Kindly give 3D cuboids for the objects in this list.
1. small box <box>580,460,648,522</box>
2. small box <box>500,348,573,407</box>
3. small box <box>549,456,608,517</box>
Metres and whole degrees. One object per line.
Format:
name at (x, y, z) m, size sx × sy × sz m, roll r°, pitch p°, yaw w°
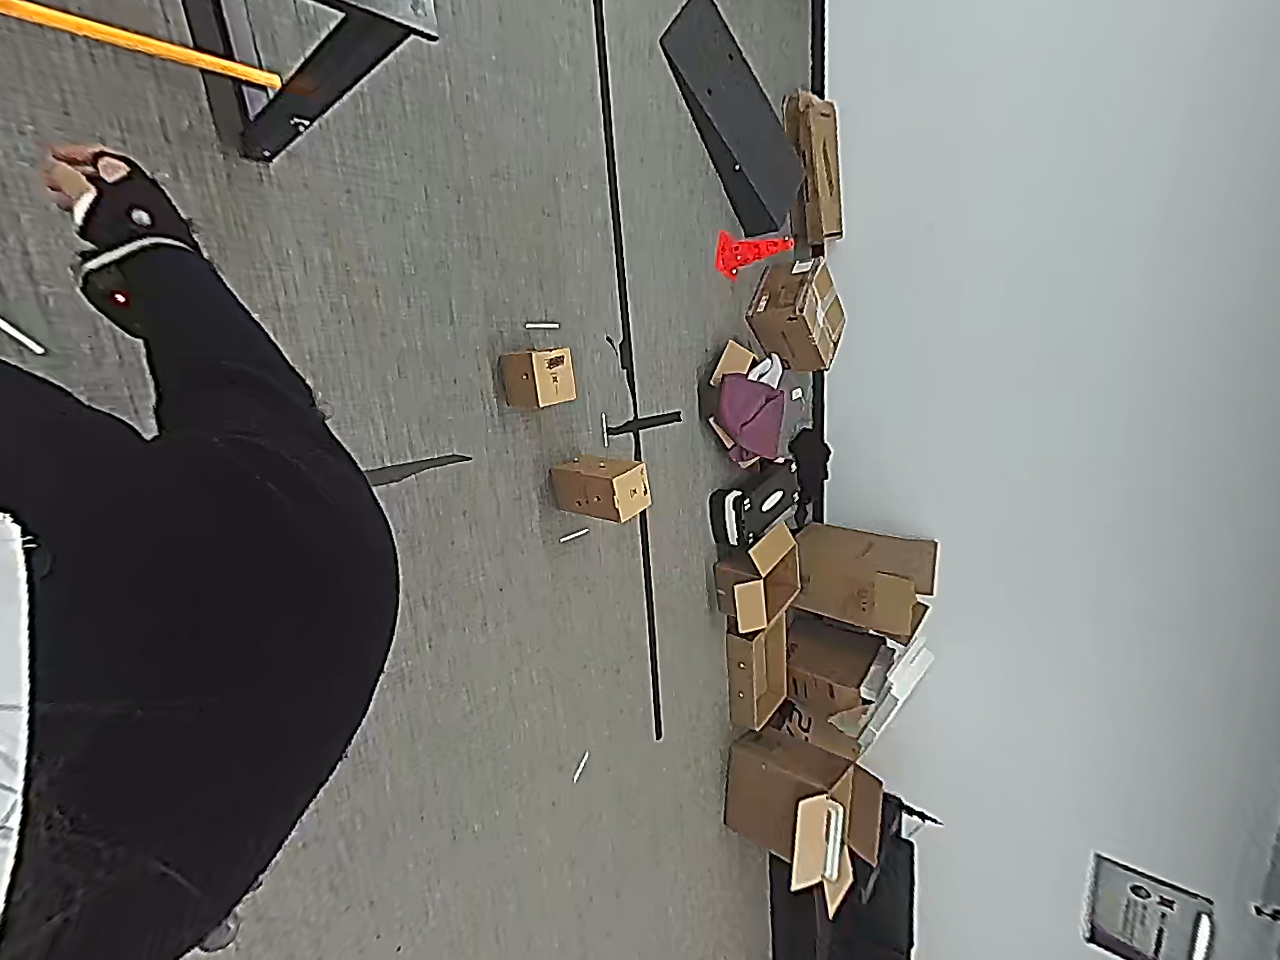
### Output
small box at (-0.097, 0.034, 1.919) m, size 0.179 × 0.176 × 0.168 m, roll -29°, pitch 117°, yaw -44°
small box at (-0.350, -0.343, 1.814) m, size 0.168 × 0.176 × 0.179 m, roll -23°, pitch 113°, yaw -46°
small box at (-0.217, 0.019, 2.030) m, size 0.168 × 0.176 × 0.179 m, roll -28°, pitch 116°, yaw -45°
